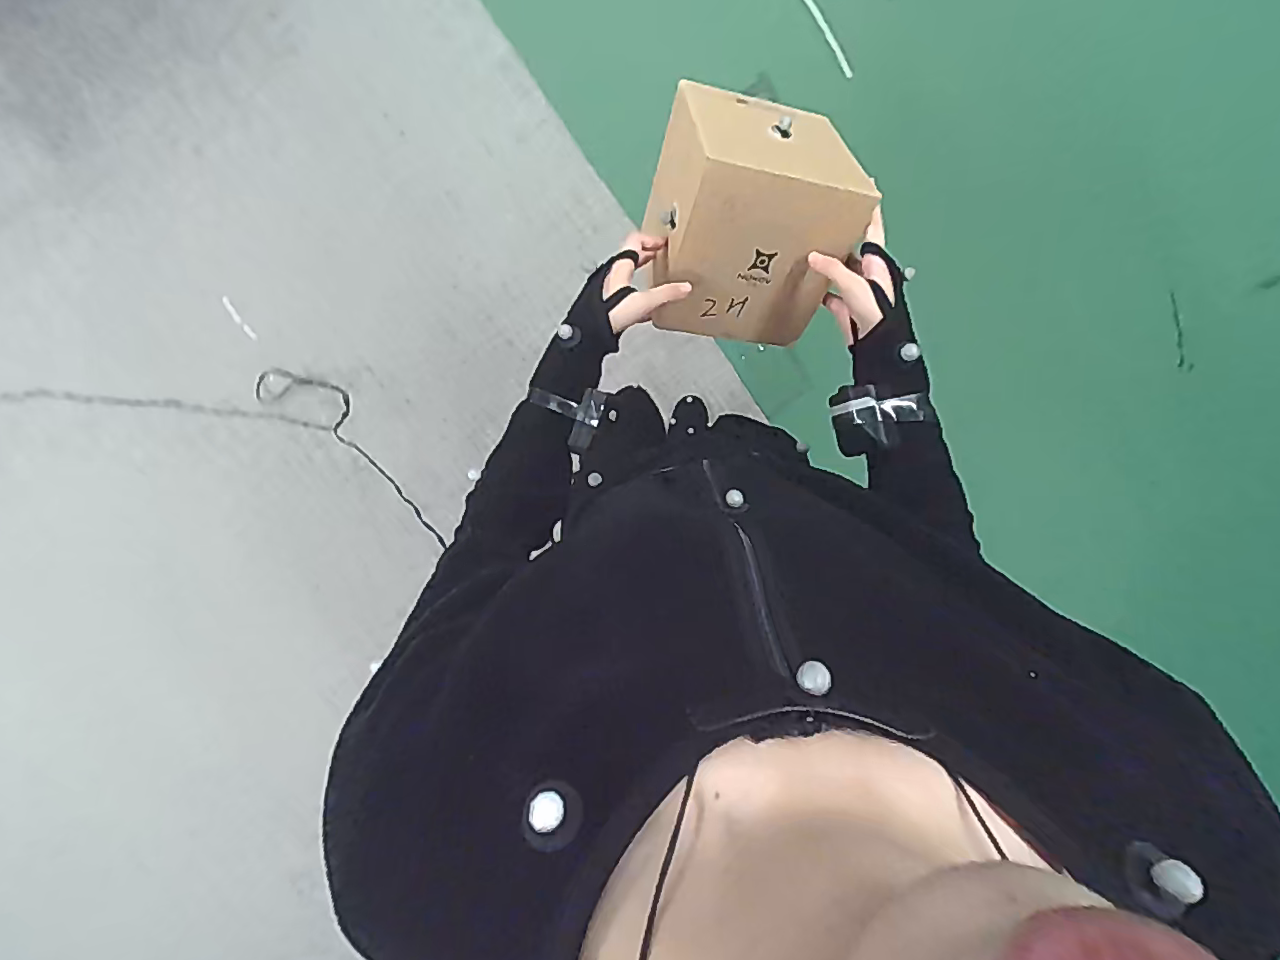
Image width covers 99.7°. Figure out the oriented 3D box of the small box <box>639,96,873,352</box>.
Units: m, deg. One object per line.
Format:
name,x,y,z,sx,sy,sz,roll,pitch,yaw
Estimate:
small box,0.100,-0.263,0.566,0.168,0.176,0.179,3,143,-14
